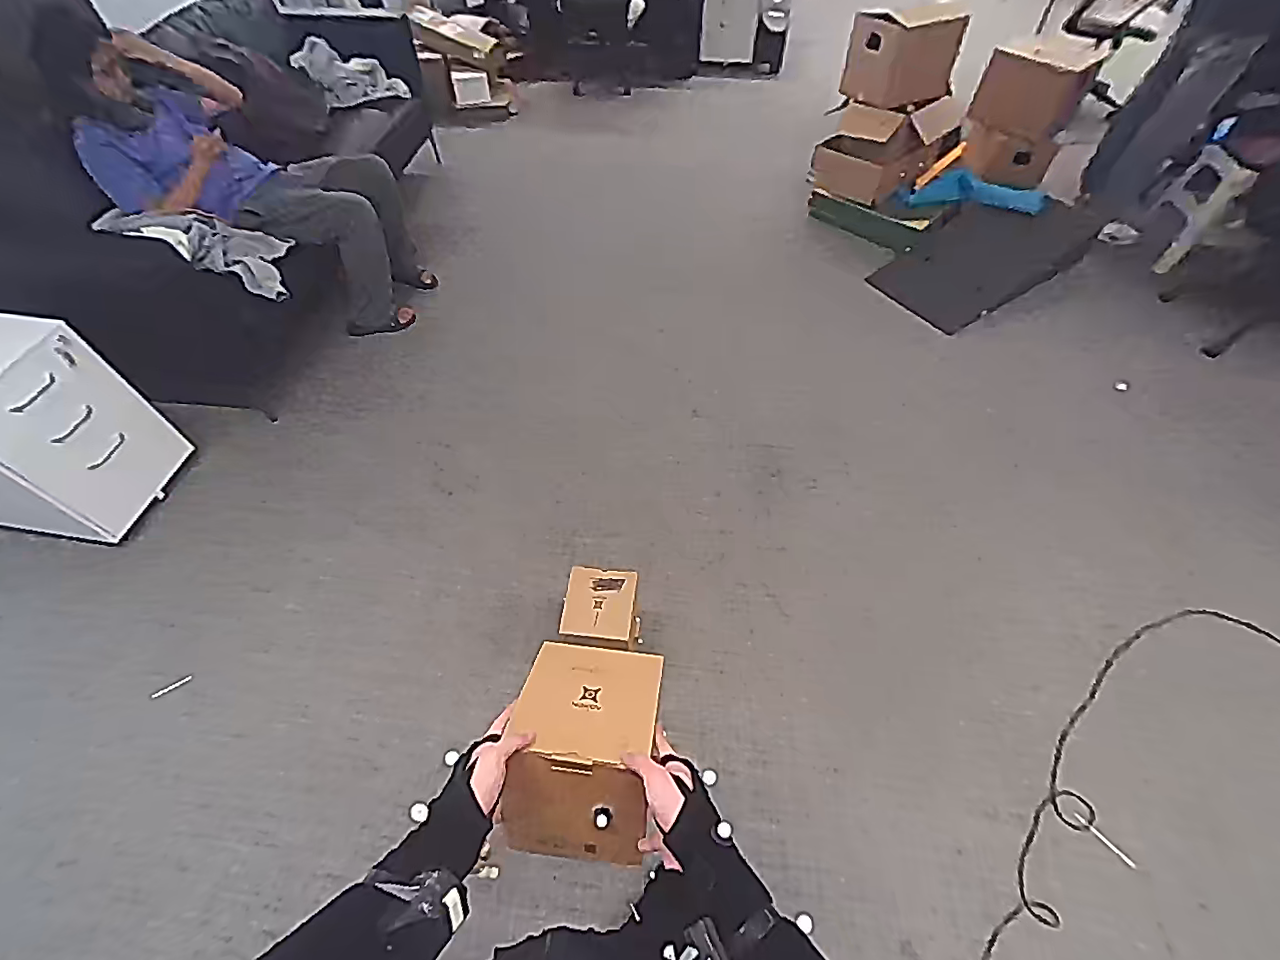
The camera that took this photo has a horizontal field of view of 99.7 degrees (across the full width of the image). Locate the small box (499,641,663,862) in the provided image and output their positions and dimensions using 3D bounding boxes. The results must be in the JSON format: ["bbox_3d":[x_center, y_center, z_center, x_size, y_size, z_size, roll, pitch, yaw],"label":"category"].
[{"bbox_3d":[-0.065,0.332,0.675,0.168,0.176,0.179,7,22,4],"label":"small box"}]

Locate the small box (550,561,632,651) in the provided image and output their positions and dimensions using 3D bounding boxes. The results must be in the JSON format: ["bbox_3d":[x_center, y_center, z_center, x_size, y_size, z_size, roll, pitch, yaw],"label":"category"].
[{"bbox_3d":[-0.115,0.327,1.349,0.168,0.176,0.179,7,54,6],"label":"small box"}]
